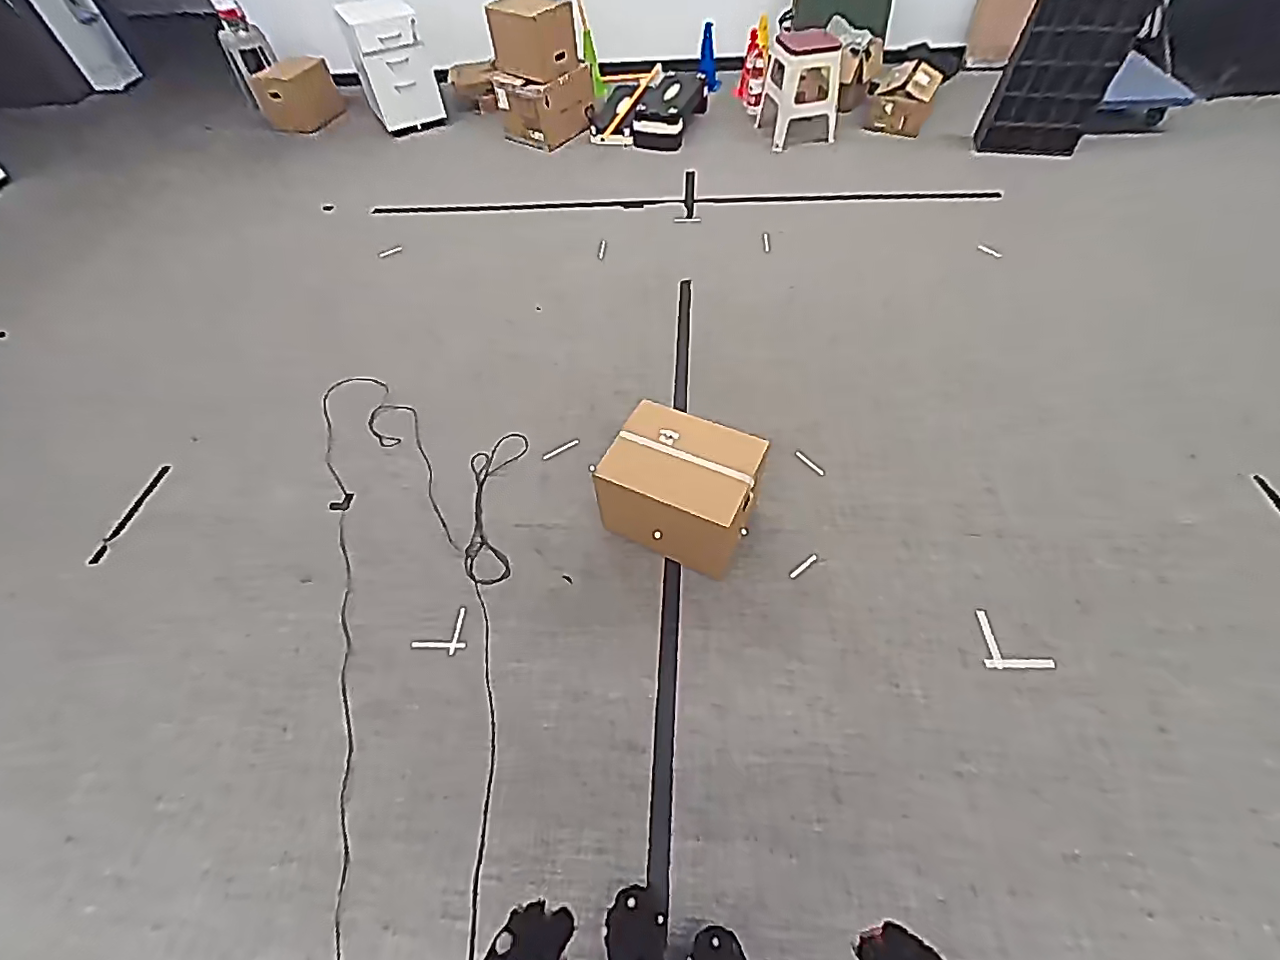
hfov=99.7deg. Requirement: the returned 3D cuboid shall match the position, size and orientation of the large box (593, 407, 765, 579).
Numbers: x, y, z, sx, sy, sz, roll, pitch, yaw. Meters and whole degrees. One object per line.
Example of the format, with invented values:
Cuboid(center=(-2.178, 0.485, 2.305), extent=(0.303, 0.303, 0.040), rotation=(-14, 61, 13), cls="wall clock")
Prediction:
Cuboid(center=(0.123, 0.040, 1.621), extent=(0.408, 0.320, 0.320), rotation=(20, 57, 18), cls="large box")
